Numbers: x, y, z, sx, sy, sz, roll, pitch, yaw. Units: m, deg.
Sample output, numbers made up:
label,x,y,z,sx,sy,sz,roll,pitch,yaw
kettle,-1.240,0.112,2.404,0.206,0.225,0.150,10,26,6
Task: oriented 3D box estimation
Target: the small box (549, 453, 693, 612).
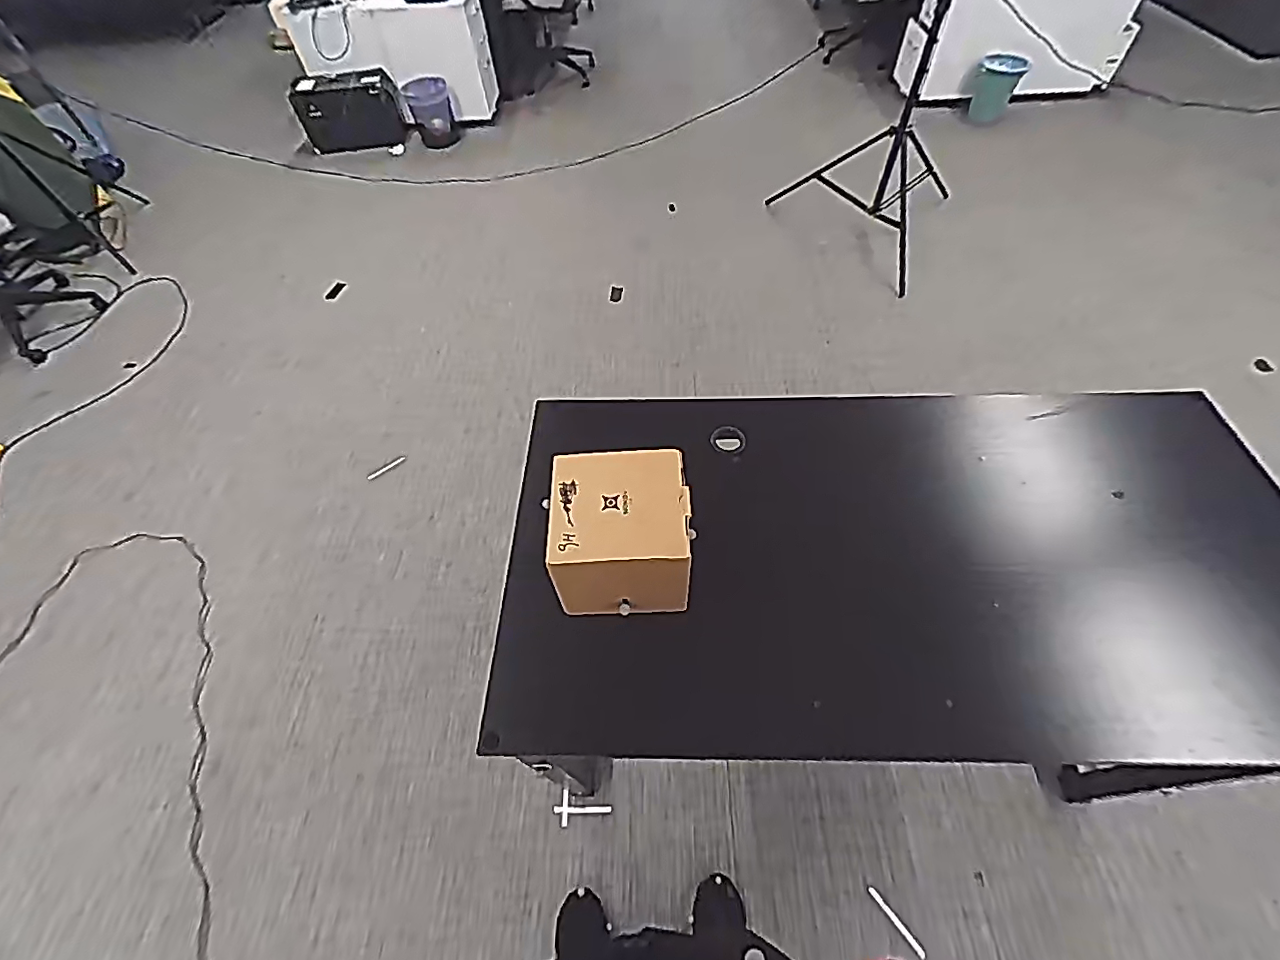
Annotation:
label,x,y,z,sx,sy,sz,roll,pitch,yaw
small box,-0.024,0.078,0.759,0.179,0.176,0.168,-2,54,0
